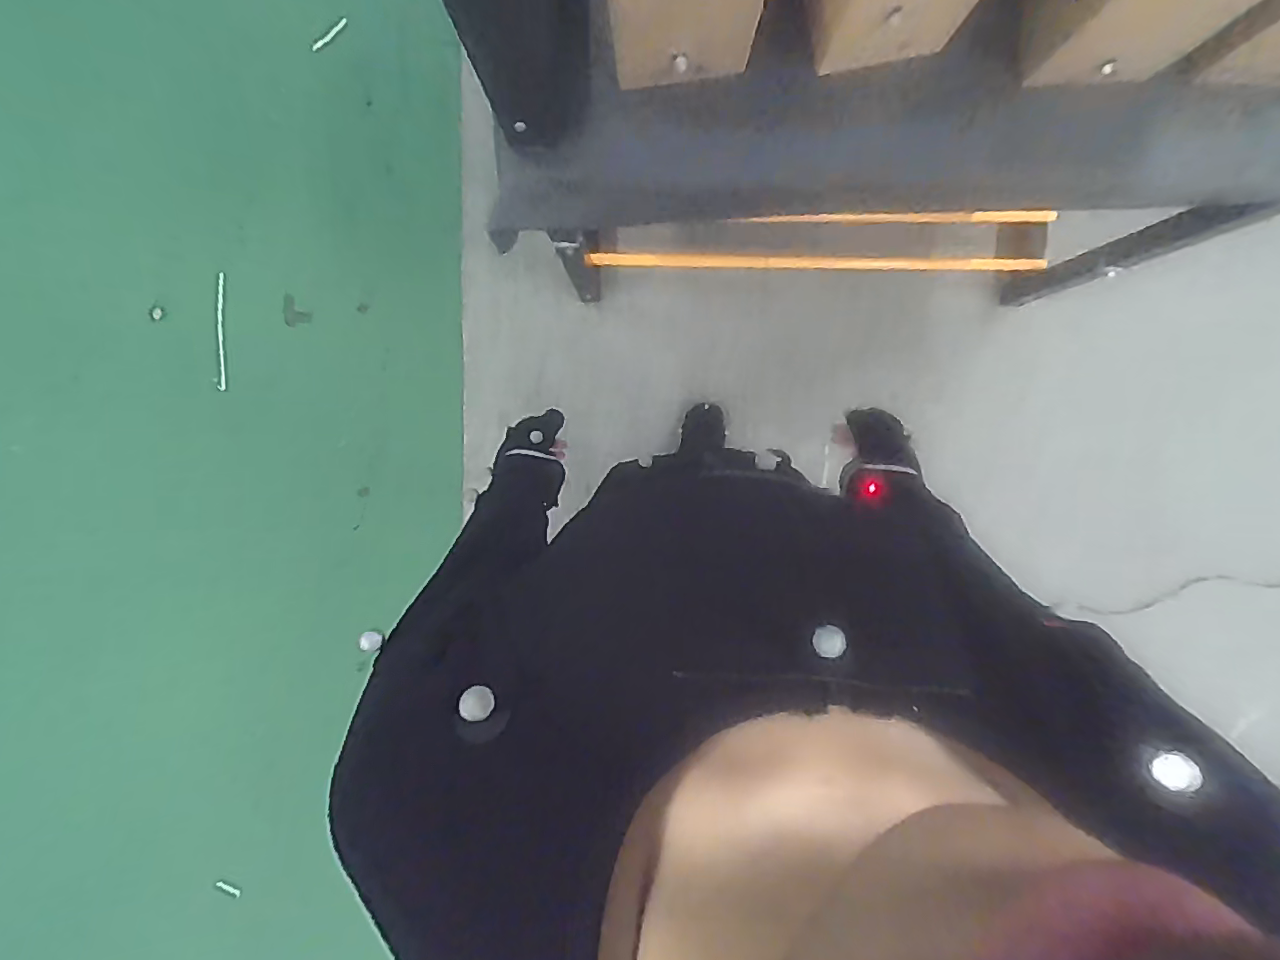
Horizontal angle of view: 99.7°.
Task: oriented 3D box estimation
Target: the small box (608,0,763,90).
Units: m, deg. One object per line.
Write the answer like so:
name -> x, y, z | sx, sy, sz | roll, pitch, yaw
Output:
small box -> 0.043, -0.599, 0.621 | 0.168, 0.176, 0.179 | -7, 95, 1
